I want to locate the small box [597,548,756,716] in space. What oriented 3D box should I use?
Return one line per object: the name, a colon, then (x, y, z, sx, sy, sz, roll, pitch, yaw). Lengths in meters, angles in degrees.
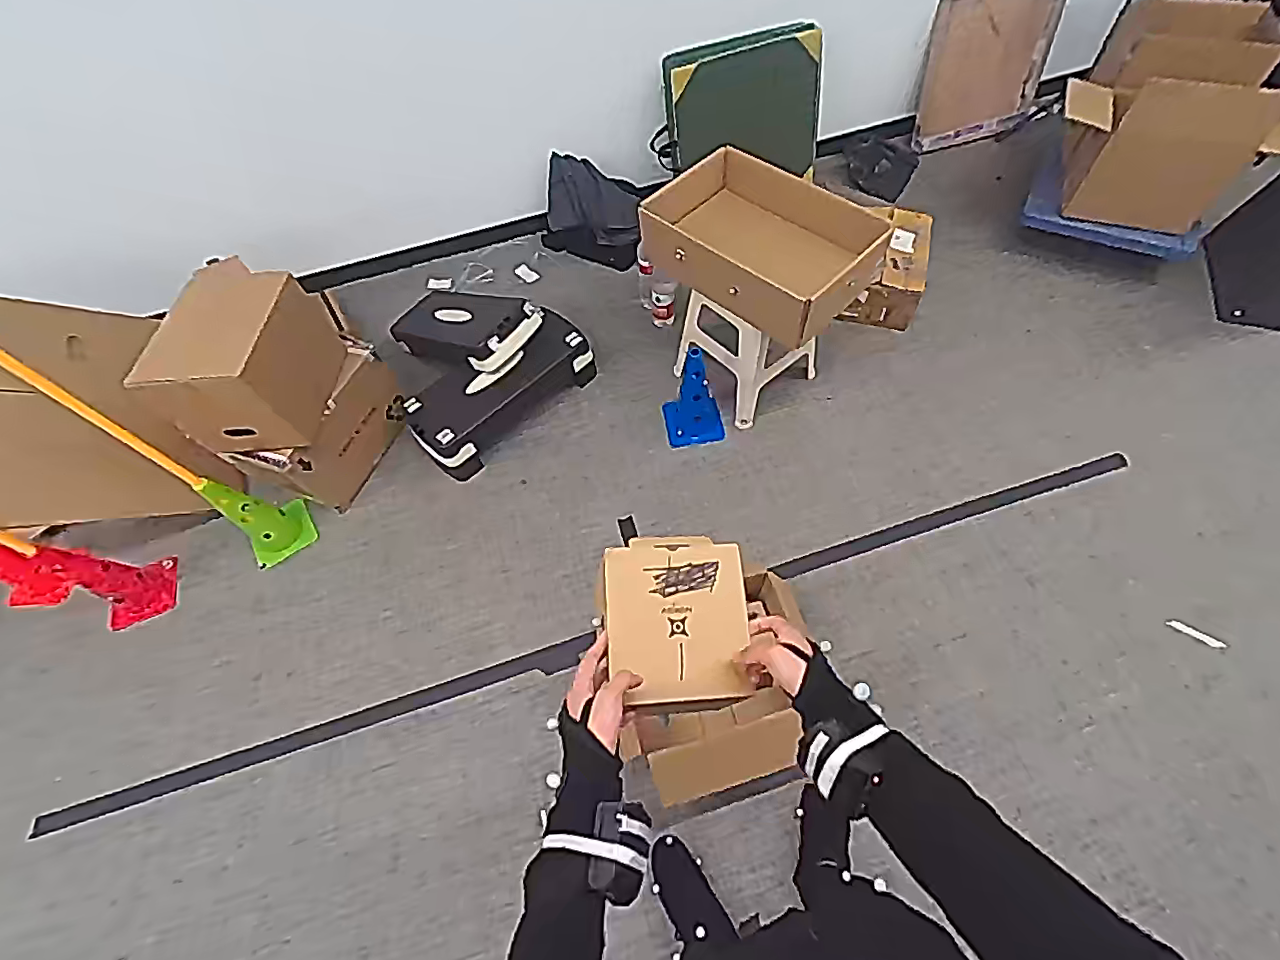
small box: (0.033, 0.200, 0.702, 0.168, 0.176, 0.179, -1, 63, -8)
